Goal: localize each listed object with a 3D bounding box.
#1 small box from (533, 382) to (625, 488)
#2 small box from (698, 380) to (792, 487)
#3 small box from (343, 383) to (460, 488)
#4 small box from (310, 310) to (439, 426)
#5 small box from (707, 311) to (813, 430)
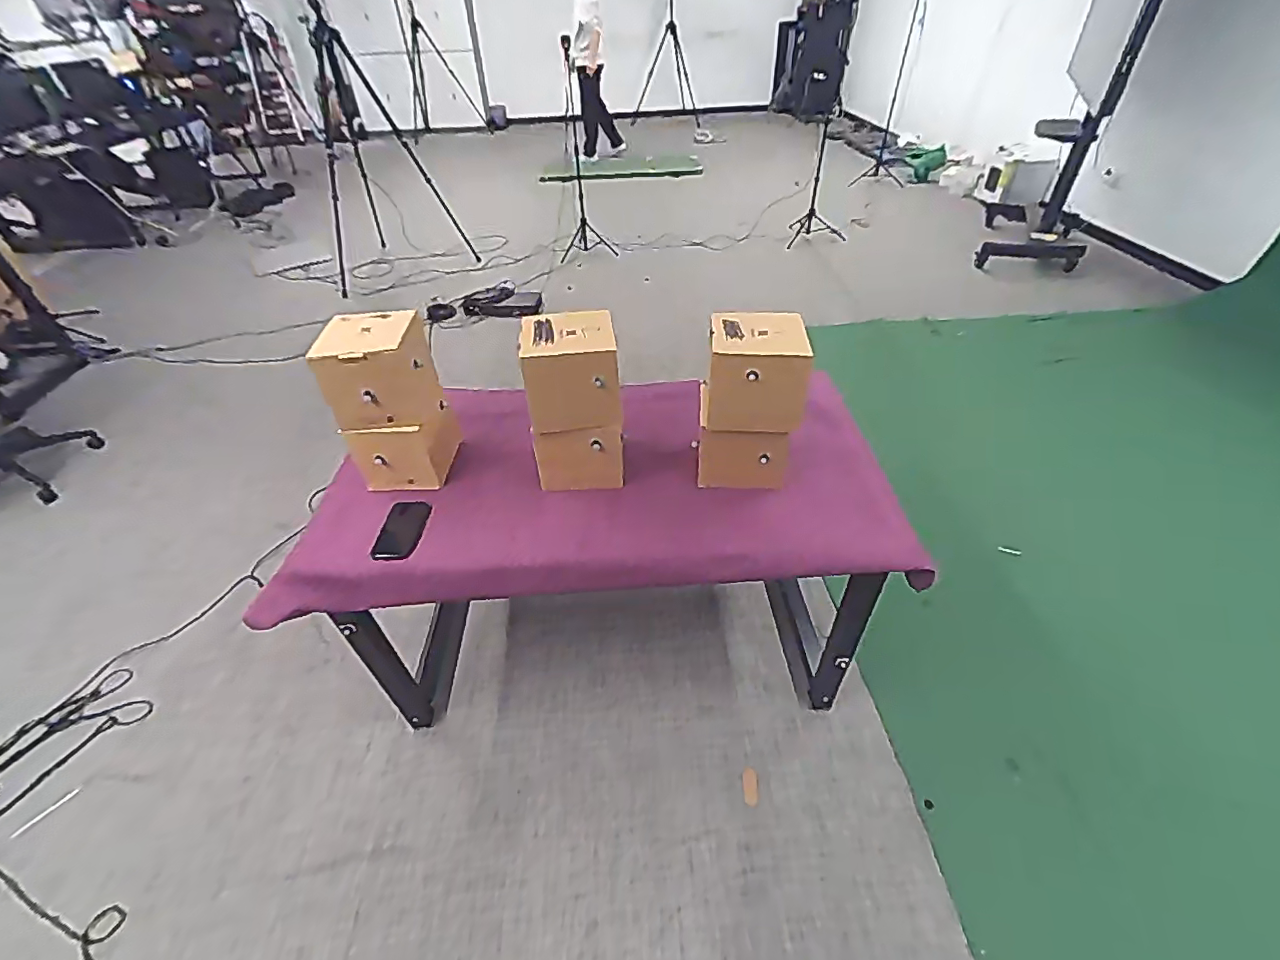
[{"bbox_3d":[-0.123,-0.096,1.174,0.179,0.176,0.168,-2,42,1],"label":"small box"},{"bbox_3d":[0.218,-0.098,1.160,0.179,0.176,0.168,2,42,6],"label":"small box"},{"bbox_3d":[-0.513,-0.094,1.196,0.168,0.176,0.179,-2,42,1],"label":"small box"},{"bbox_3d":[-0.520,-0.221,1.092,0.168,0.176,0.179,-5,43,-3],"label":"small box"},{"bbox_3d":[0.220,-0.210,1.038,0.179,0.176,0.168,2,42,5],"label":"small box"}]
